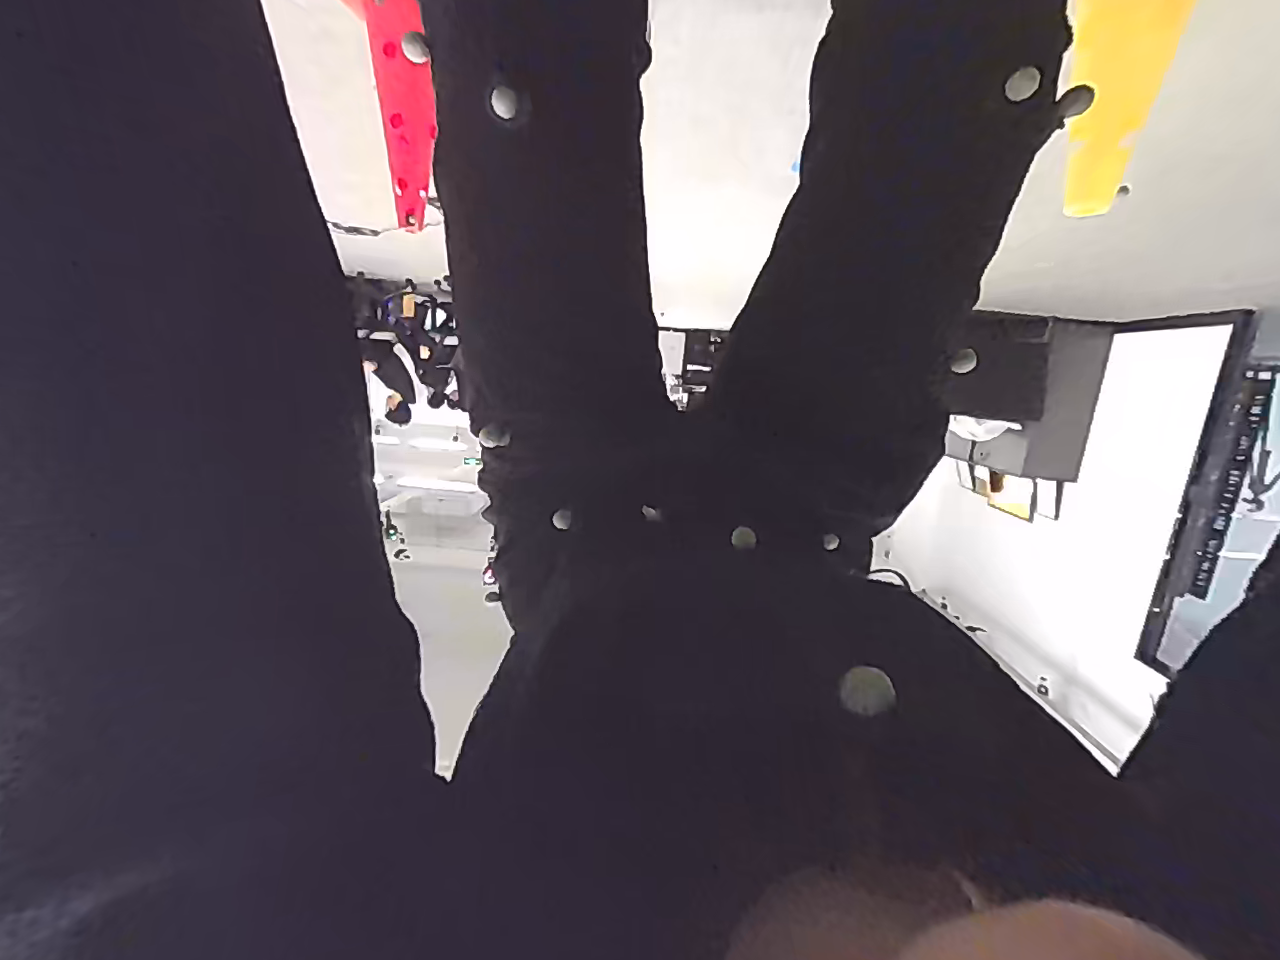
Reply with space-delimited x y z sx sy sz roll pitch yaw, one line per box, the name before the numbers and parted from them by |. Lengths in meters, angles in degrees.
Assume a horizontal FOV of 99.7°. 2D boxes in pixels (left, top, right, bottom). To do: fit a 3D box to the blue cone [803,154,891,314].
blue cone | 0.514 -0.637 1.424 0.192 0.380 0.193 5 -169 2
